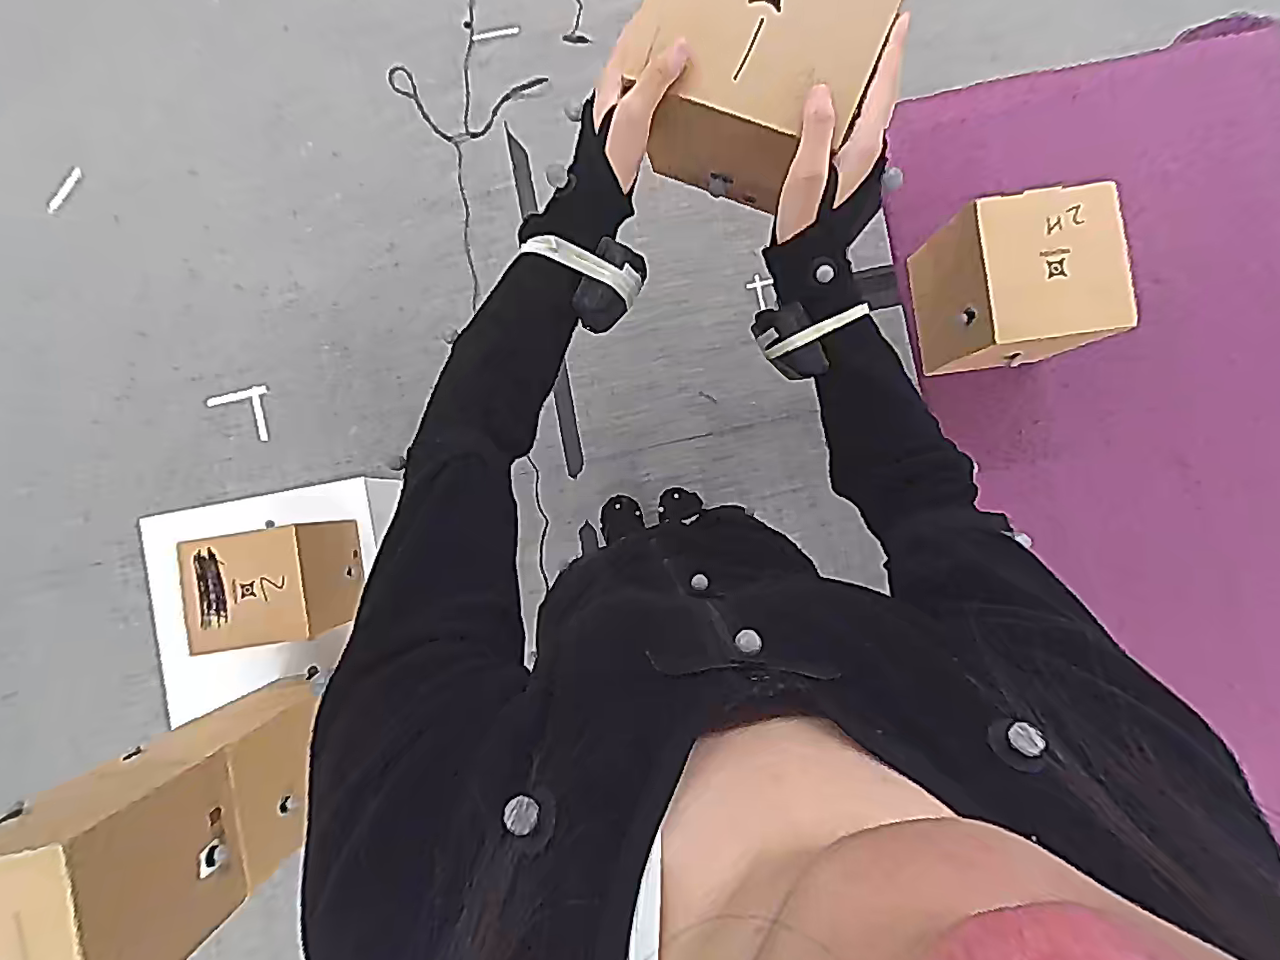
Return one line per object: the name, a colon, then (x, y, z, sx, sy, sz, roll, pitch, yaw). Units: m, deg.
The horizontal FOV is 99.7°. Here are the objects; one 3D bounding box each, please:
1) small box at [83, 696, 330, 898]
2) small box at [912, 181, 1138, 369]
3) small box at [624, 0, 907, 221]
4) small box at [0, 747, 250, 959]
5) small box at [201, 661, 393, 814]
small box: (-0.514, 0.387, 0.668, 0.179, 0.176, 0.168, -12, 88, 1)
small box: (0.481, -0.248, 0.702, 0.168, 0.176, 0.179, -7, 88, 0)
small box: (0.105, -0.342, 0.432, 0.168, 0.176, 0.179, 23, 102, 6)
small box: (-0.519, 0.380, 0.506, 0.179, 0.176, 0.168, -12, 89, 0)
small box: (-0.513, 0.393, 0.830, 0.179, 0.176, 0.168, -10, 89, 2)
